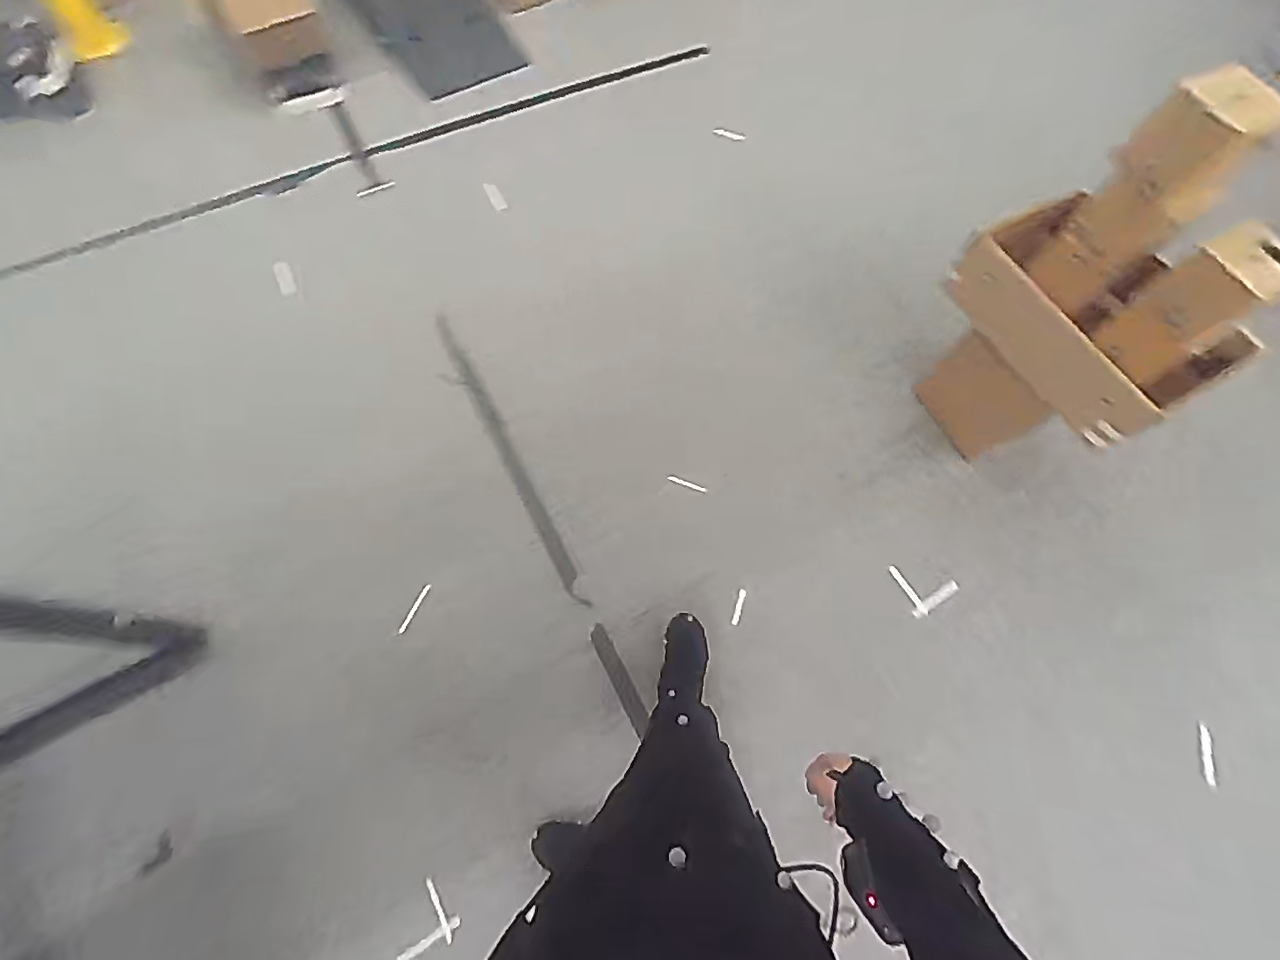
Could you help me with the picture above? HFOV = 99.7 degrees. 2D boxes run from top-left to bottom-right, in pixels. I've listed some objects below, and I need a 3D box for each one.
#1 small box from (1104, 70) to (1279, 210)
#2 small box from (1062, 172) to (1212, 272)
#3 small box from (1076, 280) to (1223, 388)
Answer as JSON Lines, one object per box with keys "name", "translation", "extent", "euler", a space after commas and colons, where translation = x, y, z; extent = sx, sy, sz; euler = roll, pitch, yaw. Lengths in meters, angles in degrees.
{"name": "small box", "translation": [1.157, -0.713, 1.144], "extent": [0.179, 0.176, 0.168], "euler": [-22, 71, -11]}
{"name": "small box", "translation": [1.163, -0.627, 1.288], "extent": [0.179, 0.176, 0.168], "euler": [-23, 72, -13]}
{"name": "small box", "translation": [1.273, -0.363, 1.365], "extent": [0.179, 0.176, 0.168], "euler": [-26, 71, -12]}
